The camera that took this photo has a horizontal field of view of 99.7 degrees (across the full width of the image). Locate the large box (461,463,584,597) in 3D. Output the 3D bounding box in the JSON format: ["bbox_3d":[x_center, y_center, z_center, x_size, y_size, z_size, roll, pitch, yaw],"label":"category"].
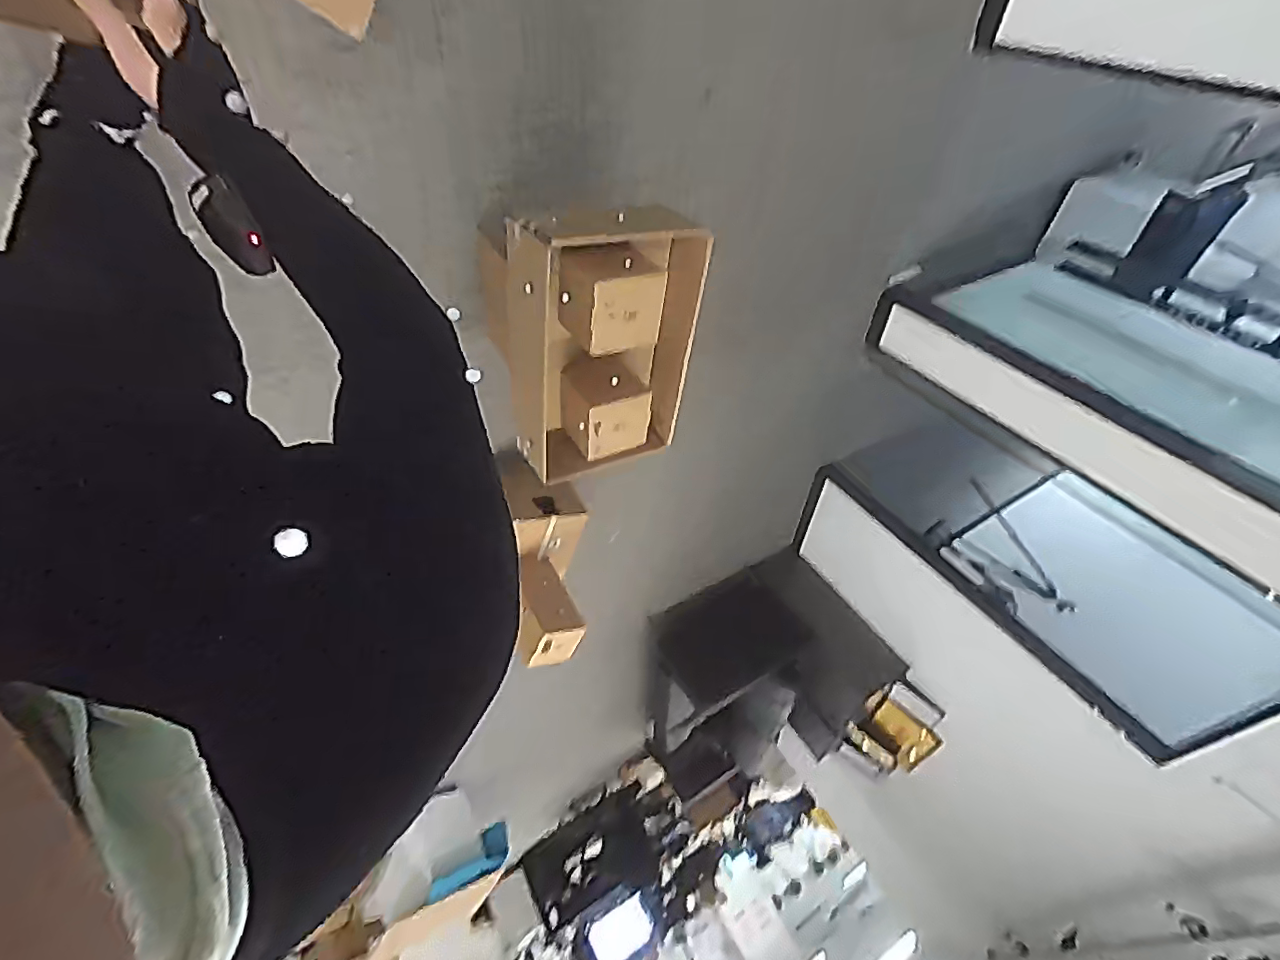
[{"bbox_3d":[-0.468,0.184,2.088,0.320,0.320,0.408,-4,131,-39],"label":"large box"}]

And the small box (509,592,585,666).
[{"bbox_3d":[-0.327,0.507,1.860,0.179,0.176,0.168,4,126,-43],"label":"small box"}]

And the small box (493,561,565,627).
[{"bbox_3d":[-0.406,0.408,1.964,0.179,0.176,0.168,4,125,-42],"label":"small box"}]
